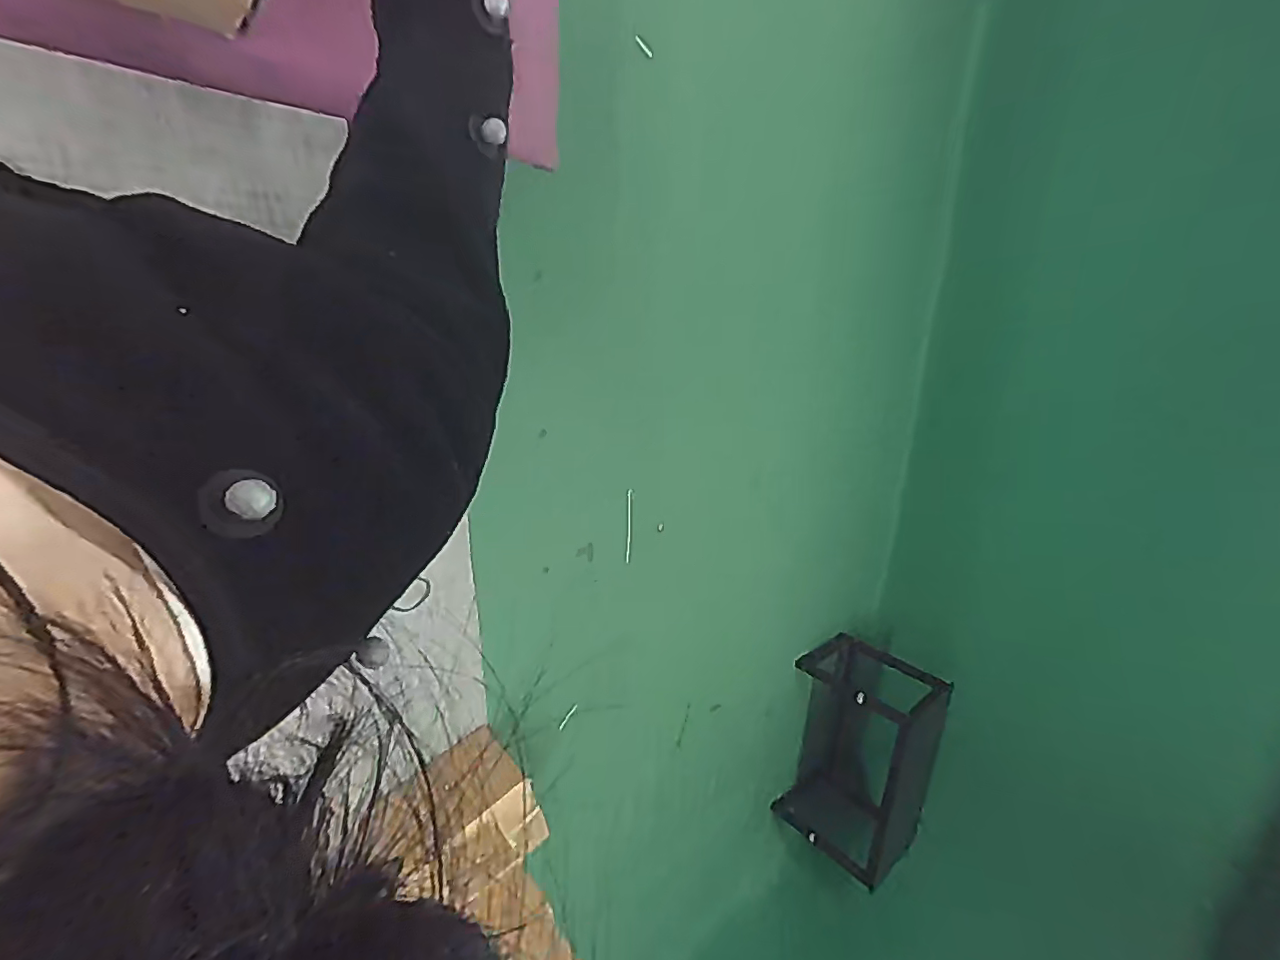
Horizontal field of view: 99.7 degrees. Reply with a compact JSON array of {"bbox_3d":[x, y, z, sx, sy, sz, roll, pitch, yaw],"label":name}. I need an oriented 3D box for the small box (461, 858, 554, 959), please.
[{"bbox_3d":[-0.360,1.191,1.470,0.179,0.176,0.168,-22,118,-36],"label":"small box"}]

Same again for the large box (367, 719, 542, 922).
[{"bbox_3d":[-0.604,1.099,1.785,0.408,0.320,0.320,-30,124,-34],"label":"large box"}]

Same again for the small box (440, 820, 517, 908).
[{"bbox_3d":[-0.465,1.143,1.584,0.168,0.176,0.179,-23,119,-35],"label":"small box"}]
